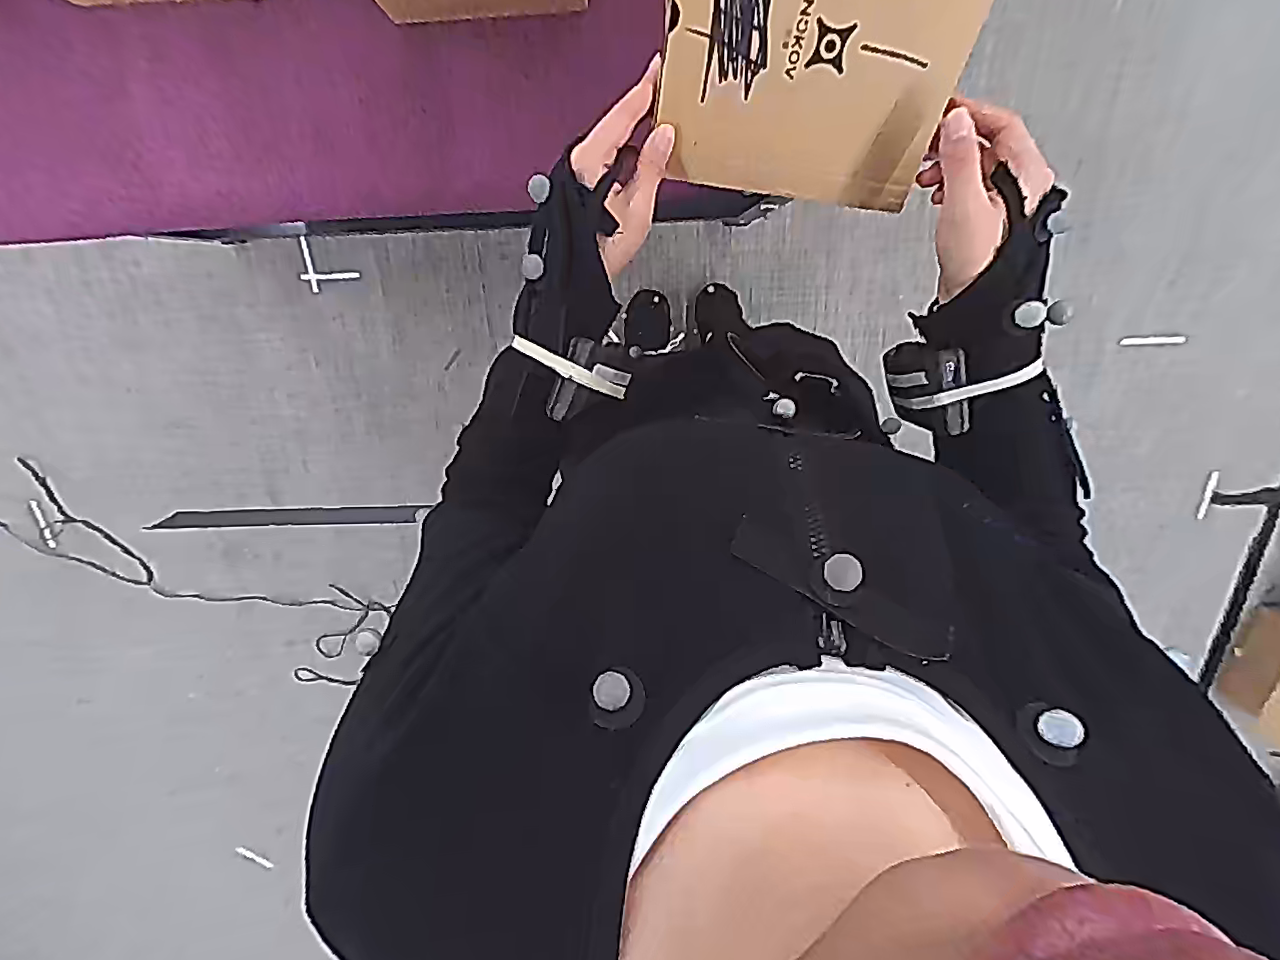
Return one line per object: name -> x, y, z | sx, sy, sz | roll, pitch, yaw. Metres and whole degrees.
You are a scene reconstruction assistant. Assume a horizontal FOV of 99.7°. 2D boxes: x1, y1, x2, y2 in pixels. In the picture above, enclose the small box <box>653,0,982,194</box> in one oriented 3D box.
small box -> 0.108, -0.309, 0.370 | 0.179, 0.176, 0.168 | 6, 128, 2
